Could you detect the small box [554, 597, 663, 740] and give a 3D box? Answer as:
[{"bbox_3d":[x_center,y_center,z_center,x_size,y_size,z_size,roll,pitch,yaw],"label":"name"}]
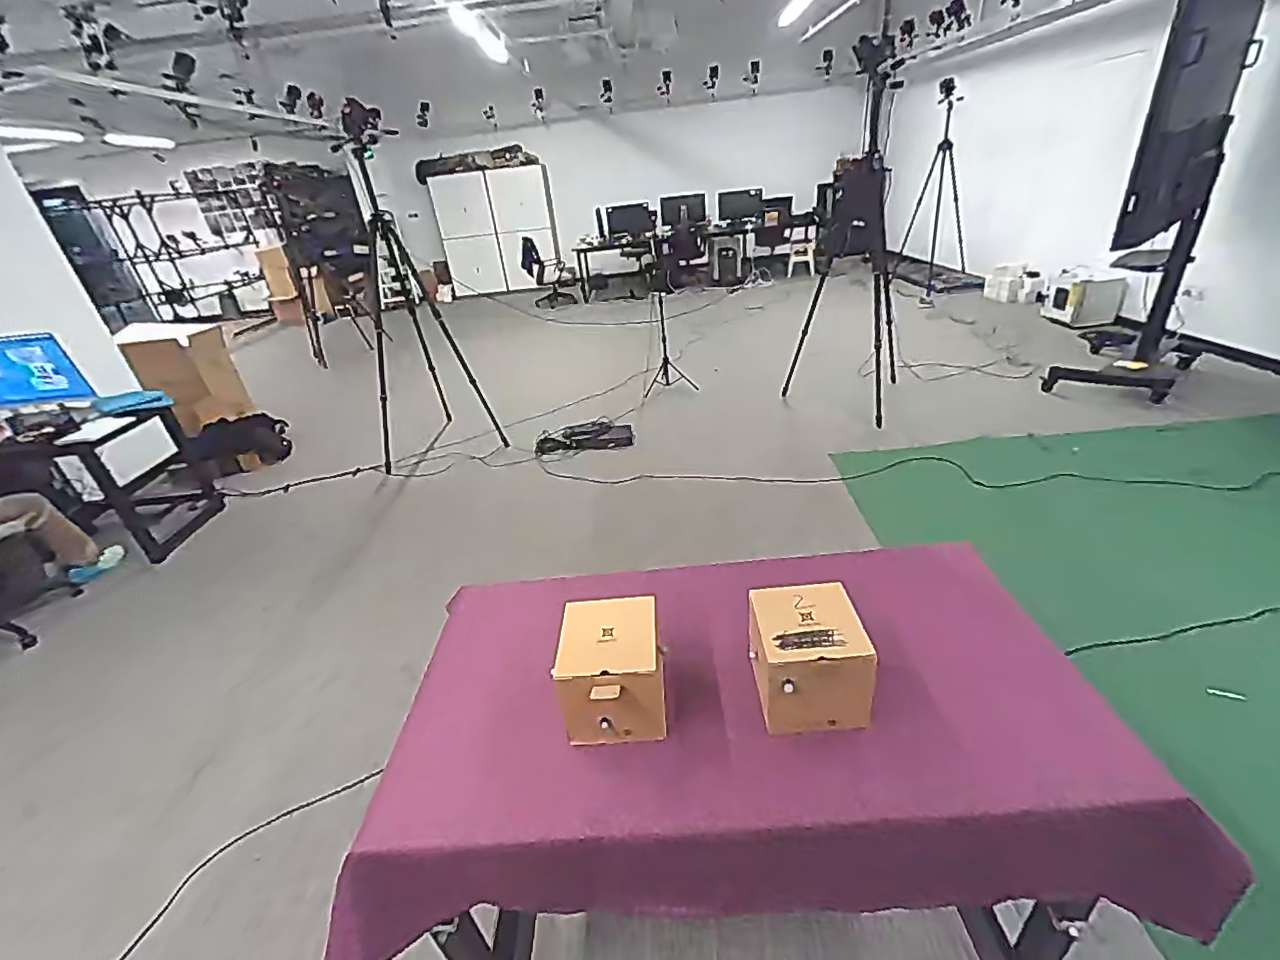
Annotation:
[{"bbox_3d":[-0.049,0.336,0.971,0.168,0.176,0.179,-5,30,3],"label":"small box"}]
